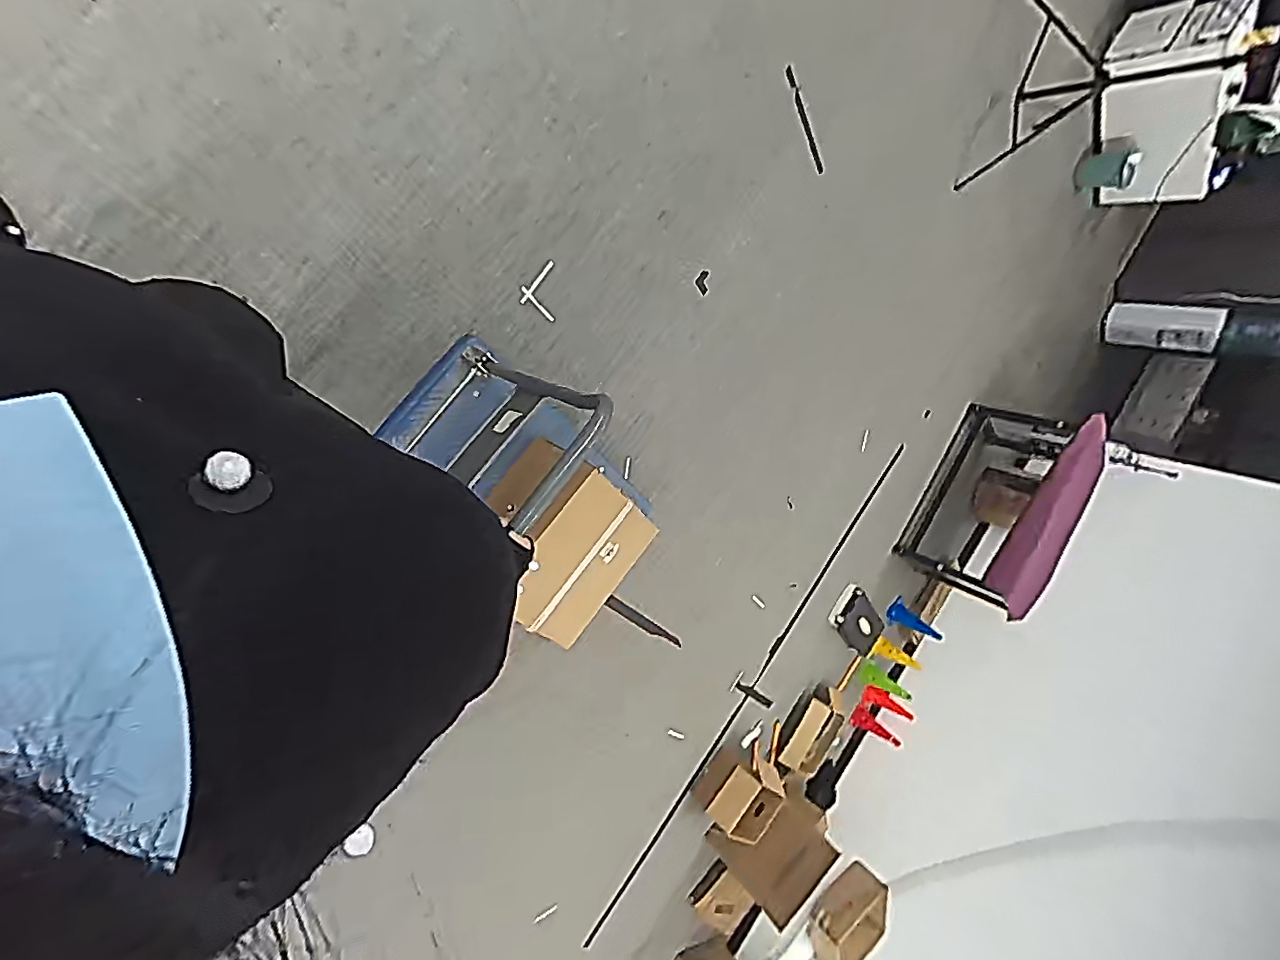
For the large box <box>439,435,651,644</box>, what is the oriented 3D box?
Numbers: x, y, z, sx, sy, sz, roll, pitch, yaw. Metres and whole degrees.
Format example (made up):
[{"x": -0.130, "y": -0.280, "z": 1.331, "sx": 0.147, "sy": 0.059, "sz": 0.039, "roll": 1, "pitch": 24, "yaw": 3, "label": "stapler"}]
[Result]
[{"x": -0.253, "y": 0.150, "z": 1.447, "sx": 0.408, "sy": 0.320, "sz": 0.320, "roll": -53, "pitch": 133, "yaw": -11, "label": "large box"}]
